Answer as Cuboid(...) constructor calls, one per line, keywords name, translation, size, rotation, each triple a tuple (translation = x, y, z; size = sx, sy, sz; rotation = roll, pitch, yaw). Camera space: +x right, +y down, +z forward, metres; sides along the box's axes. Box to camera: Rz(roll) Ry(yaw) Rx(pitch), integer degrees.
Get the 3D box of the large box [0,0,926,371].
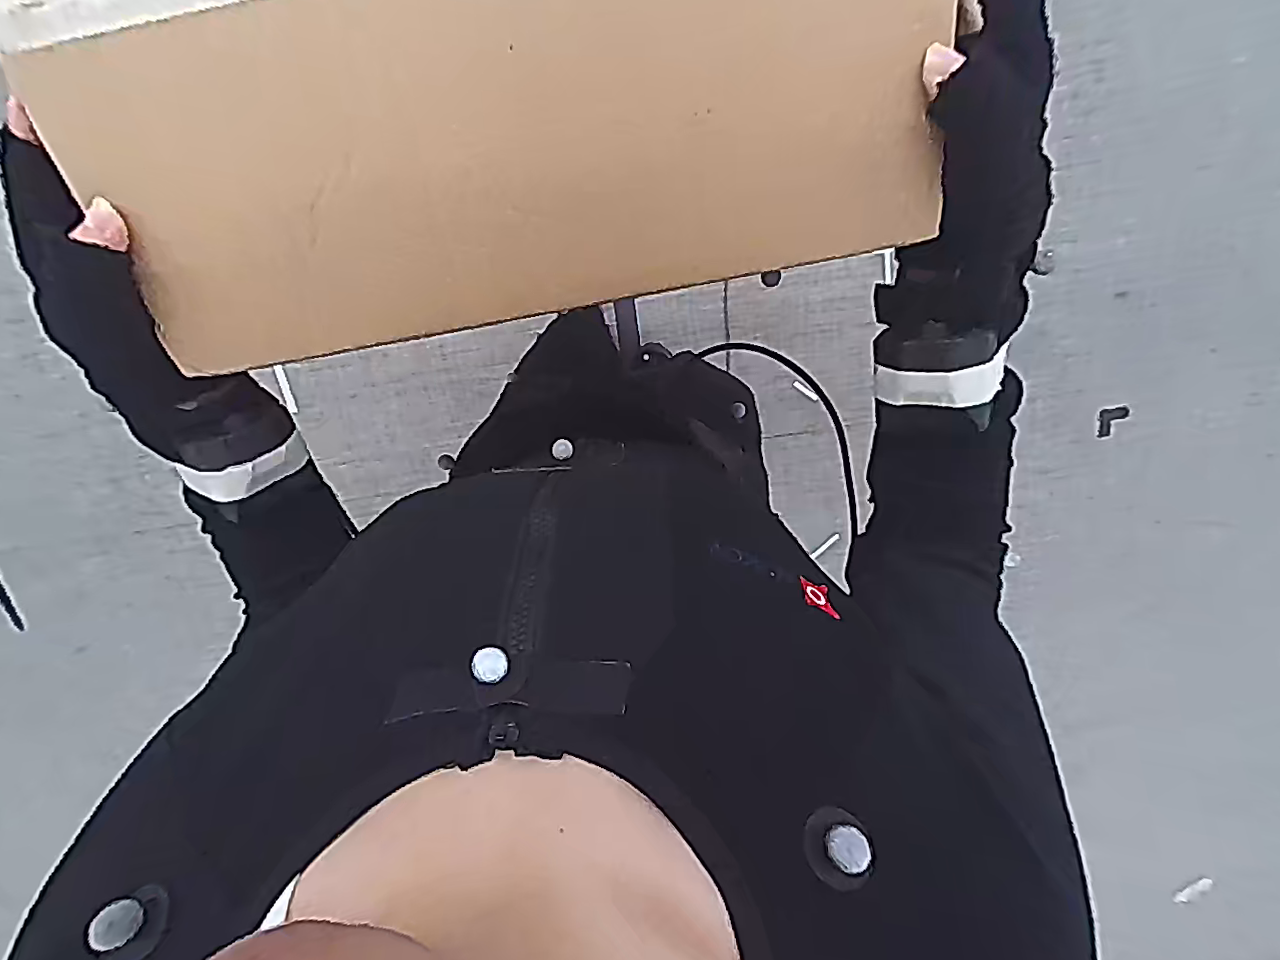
Cuboid(name="large box", translation=(-0.079, -0.298, 0.357), size=(0.408, 0.320, 0.320), rotation=(-9, 116, 5))
